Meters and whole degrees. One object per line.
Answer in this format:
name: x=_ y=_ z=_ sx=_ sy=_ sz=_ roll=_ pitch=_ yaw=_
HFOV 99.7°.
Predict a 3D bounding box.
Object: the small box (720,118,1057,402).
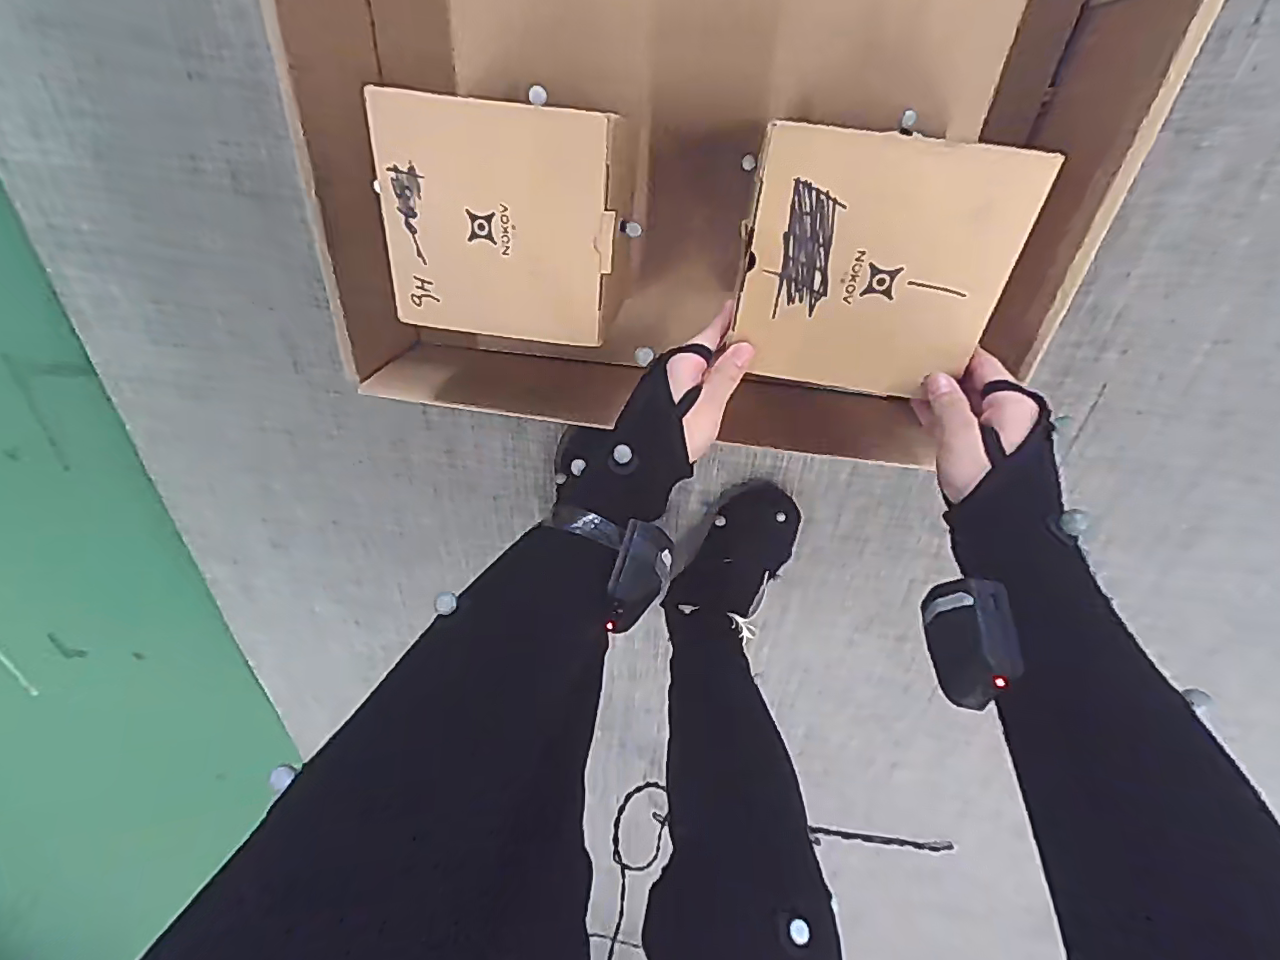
small box: x=0.171 y=-0.183 z=0.438 sx=0.179 sy=0.176 sz=0.168 roll=11 pitch=124 yaw=6
